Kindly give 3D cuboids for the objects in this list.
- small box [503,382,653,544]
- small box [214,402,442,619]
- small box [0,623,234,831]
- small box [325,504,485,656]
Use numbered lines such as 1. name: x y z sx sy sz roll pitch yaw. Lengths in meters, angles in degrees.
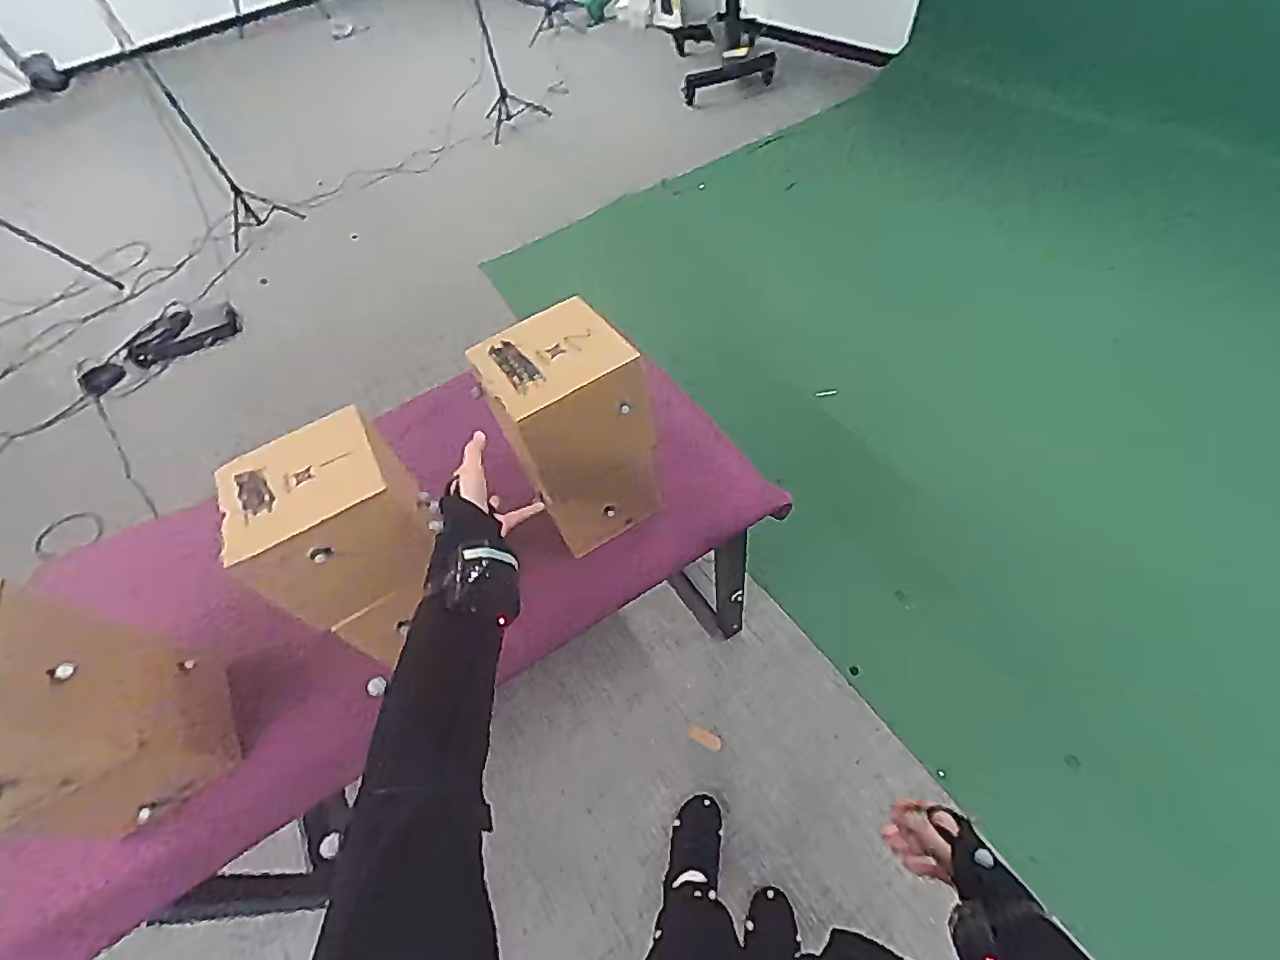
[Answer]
1. small box: -0.093 -0.019 0.875 0.168 0.176 0.179 -29 54 -12
2. small box: -0.380 0.042 0.673 0.179 0.176 0.168 -28 54 -13
3. small box: -0.684 0.329 0.714 0.168 0.176 0.179 -32 56 -14
4. small box: -0.358 0.137 0.805 0.168 0.176 0.179 -32 54 -14
